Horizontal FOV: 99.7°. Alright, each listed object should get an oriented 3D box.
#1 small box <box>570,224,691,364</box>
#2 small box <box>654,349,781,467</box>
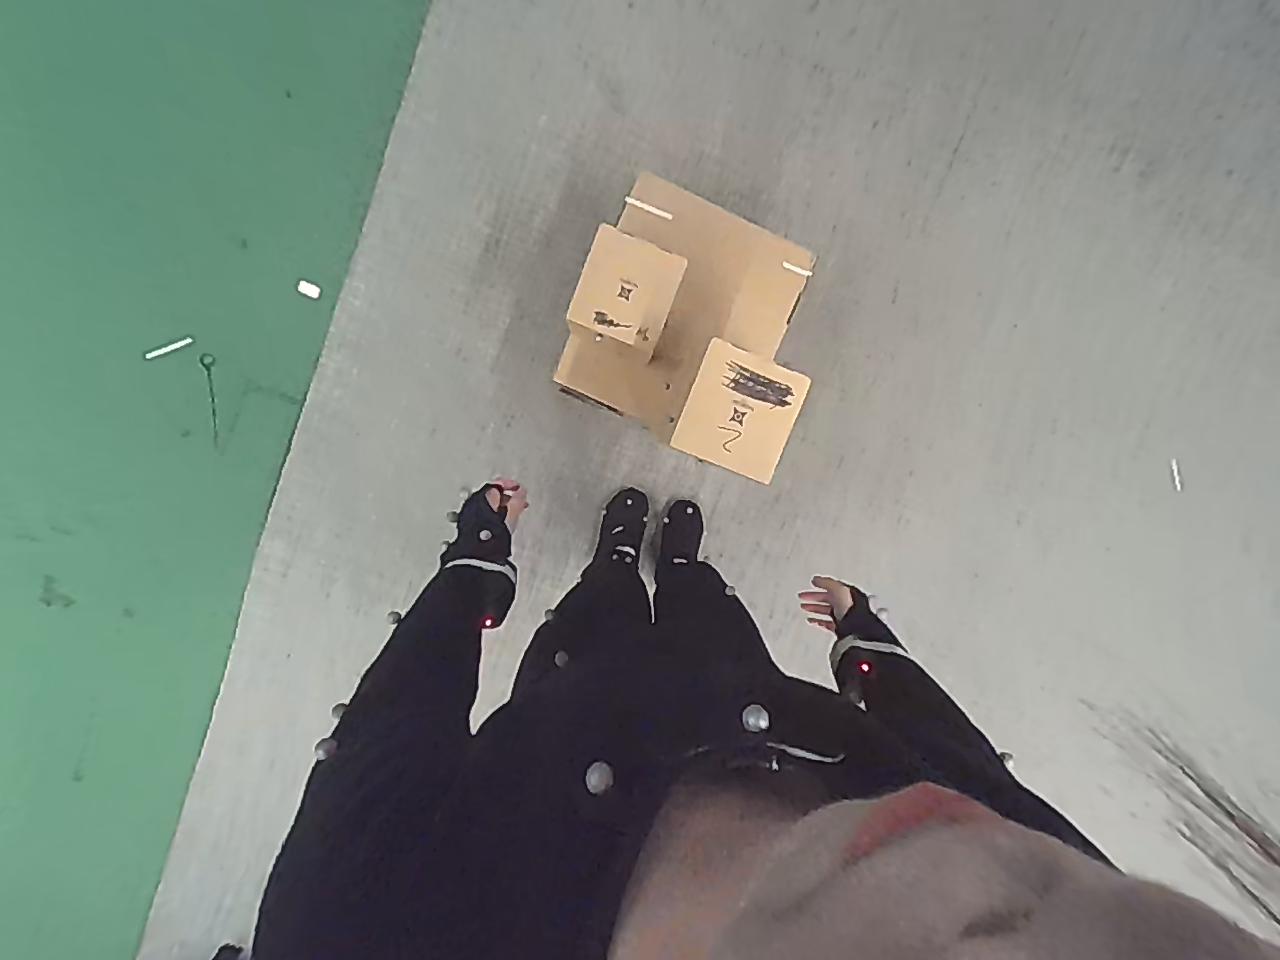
[{"bbox_3d":[-0.023,-0.335,1.011,0.168,0.176,0.179,21,93,-5],"label":"small box"},{"bbox_3d":[0.140,-0.136,1.041,0.179,0.176,0.168,20,94,-6],"label":"small box"}]
